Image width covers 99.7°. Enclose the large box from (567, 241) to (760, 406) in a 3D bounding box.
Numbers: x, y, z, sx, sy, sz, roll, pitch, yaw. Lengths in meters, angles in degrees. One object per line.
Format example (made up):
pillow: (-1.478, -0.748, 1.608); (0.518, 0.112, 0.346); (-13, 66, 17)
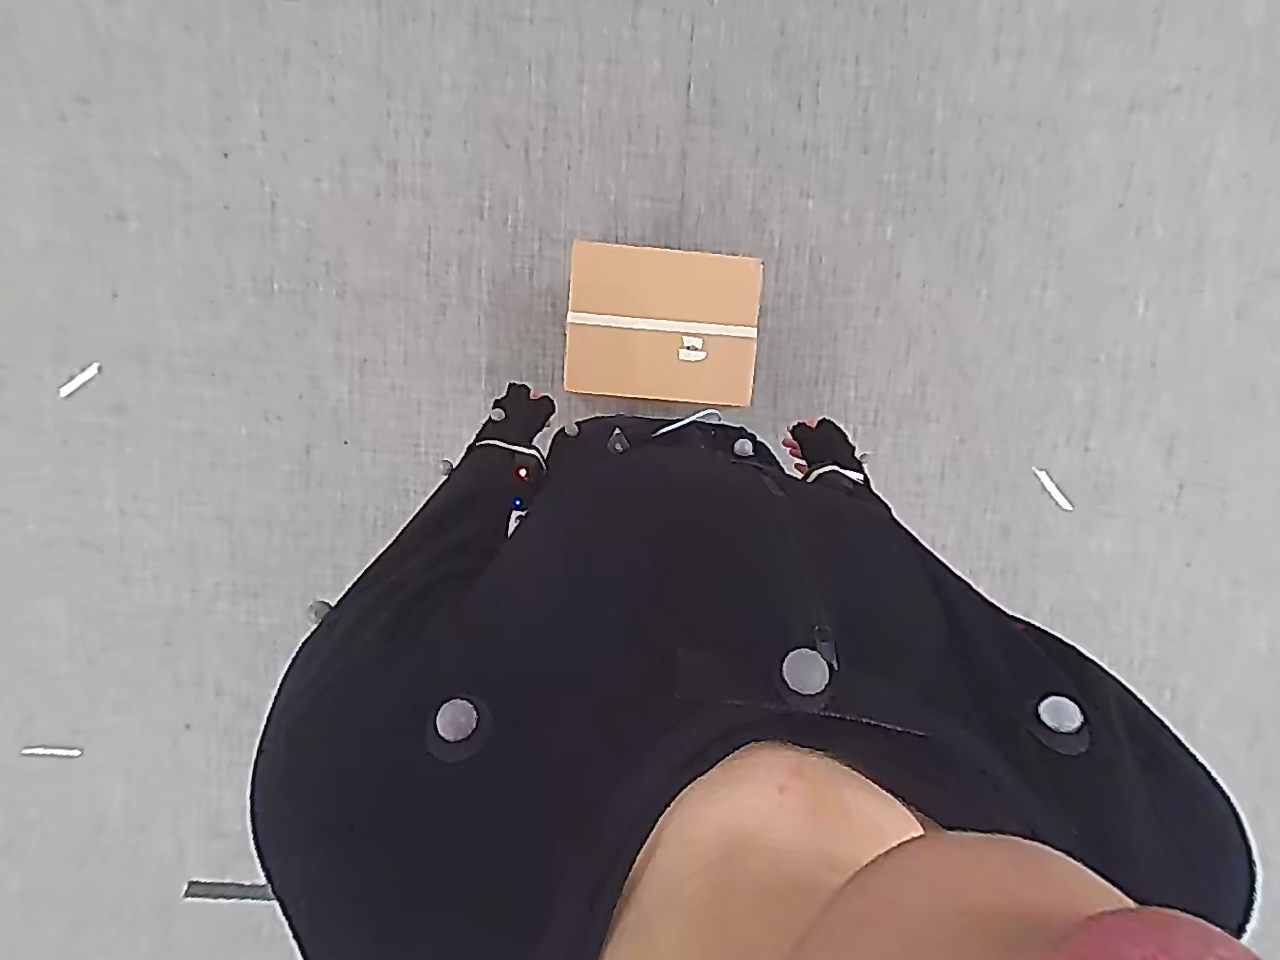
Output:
large box: (0.042, -0.351, 1.304); (0.408, 0.320, 0.320); (5, 96, -3)
